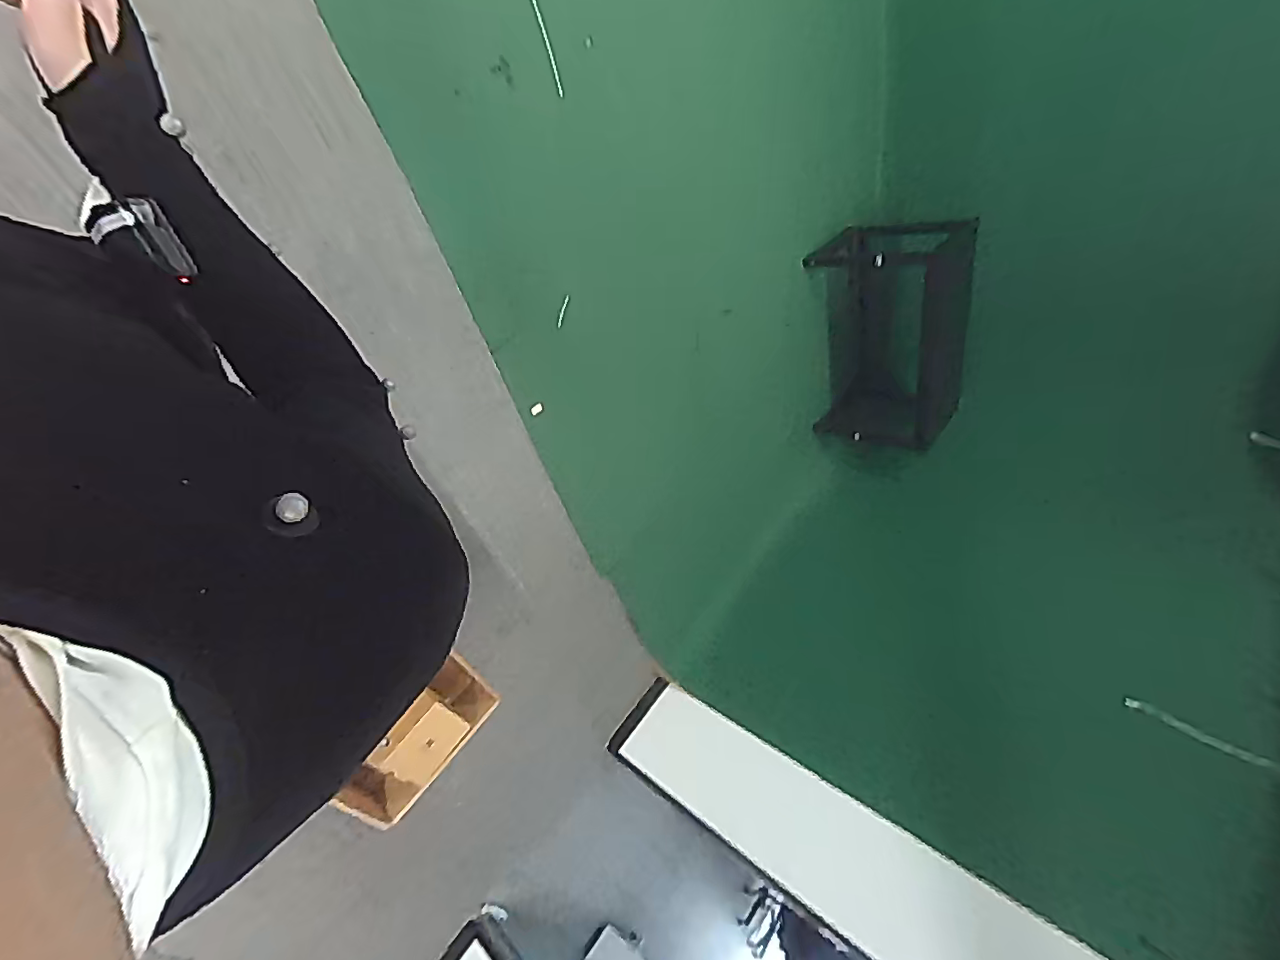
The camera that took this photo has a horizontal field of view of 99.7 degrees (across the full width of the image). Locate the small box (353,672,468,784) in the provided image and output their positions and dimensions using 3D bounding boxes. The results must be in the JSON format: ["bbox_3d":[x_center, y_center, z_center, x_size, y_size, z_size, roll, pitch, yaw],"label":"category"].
[{"bbox_3d":[-0.585,0.625,1.377,0.179,0.176,0.168,-49,137,-24],"label":"small box"}]
